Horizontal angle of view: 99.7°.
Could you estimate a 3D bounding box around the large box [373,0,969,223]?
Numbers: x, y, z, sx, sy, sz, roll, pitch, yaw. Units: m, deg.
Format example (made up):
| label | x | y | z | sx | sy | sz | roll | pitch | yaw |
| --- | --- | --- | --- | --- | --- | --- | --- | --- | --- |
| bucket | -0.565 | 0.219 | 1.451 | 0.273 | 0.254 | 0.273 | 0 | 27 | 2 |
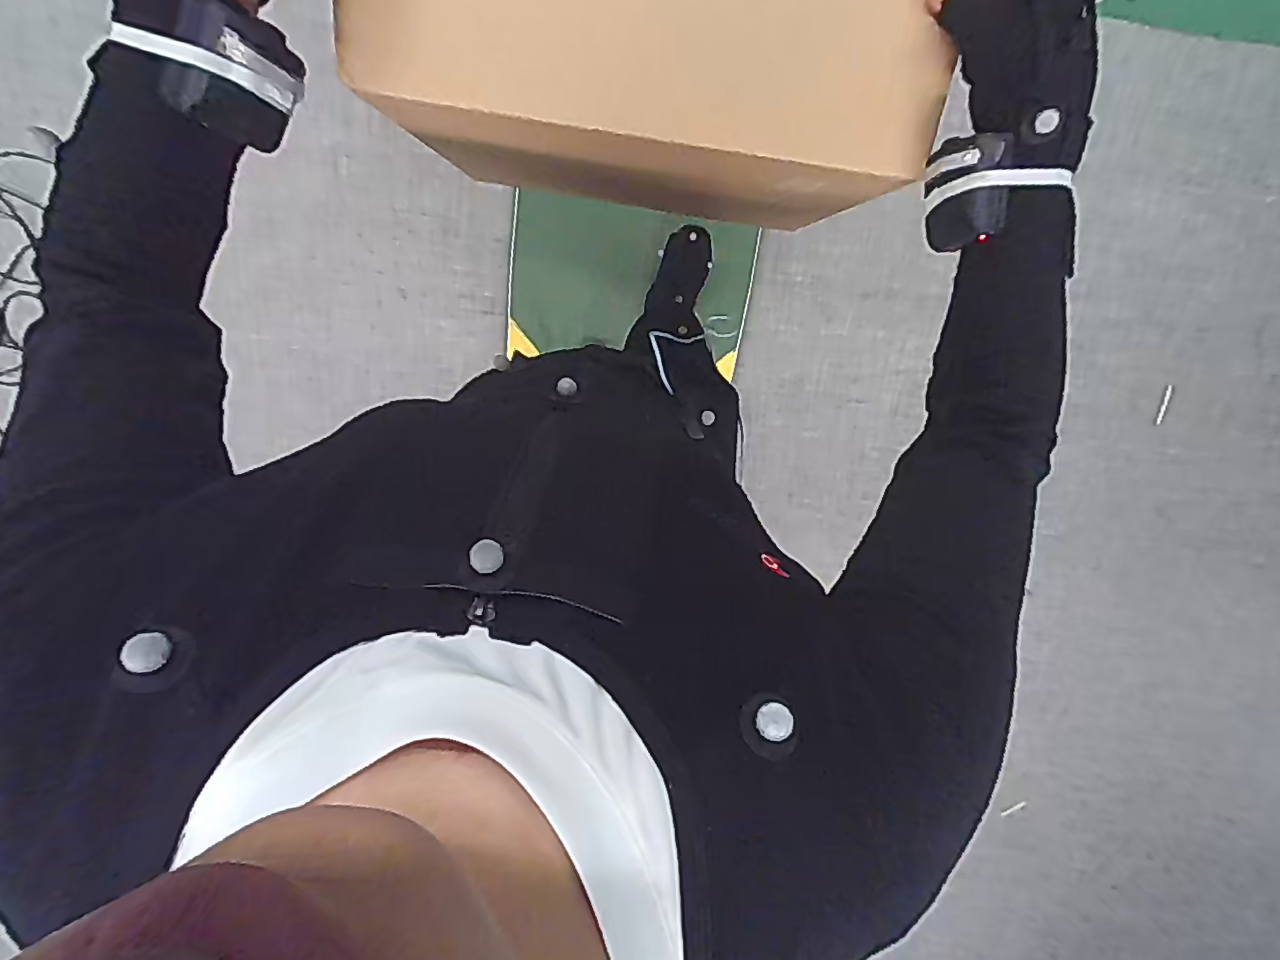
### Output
| label | x | y | z | sx | sy | sz | roll | pitch | yaw |
| --- | --- | --- | --- | --- | --- | --- | --- | --- | --- |
| large box | 0.026 | -0.437 | 0.478 | 0.408 | 0.320 | 0.320 | 6 | 109 | -4 |
